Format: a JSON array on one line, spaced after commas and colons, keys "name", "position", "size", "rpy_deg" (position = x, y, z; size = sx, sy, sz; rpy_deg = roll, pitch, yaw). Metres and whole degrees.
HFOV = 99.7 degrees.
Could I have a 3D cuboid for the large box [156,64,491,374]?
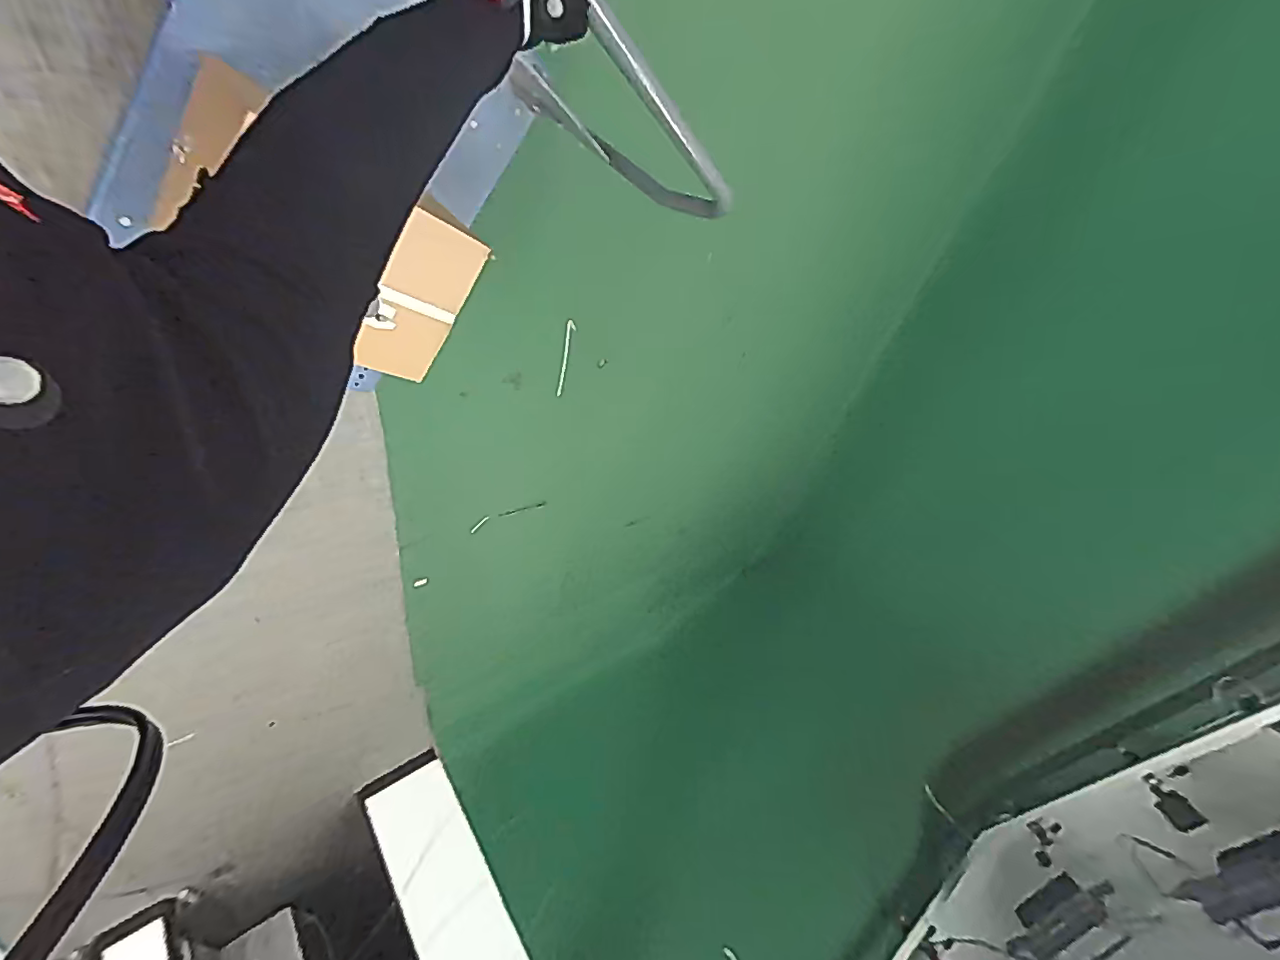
[{"name": "large box", "position": [-0.568, -0.442, 0.985], "size": [0.408, 0.320, 0.320], "rpy_deg": [8, 124, -55]}]
